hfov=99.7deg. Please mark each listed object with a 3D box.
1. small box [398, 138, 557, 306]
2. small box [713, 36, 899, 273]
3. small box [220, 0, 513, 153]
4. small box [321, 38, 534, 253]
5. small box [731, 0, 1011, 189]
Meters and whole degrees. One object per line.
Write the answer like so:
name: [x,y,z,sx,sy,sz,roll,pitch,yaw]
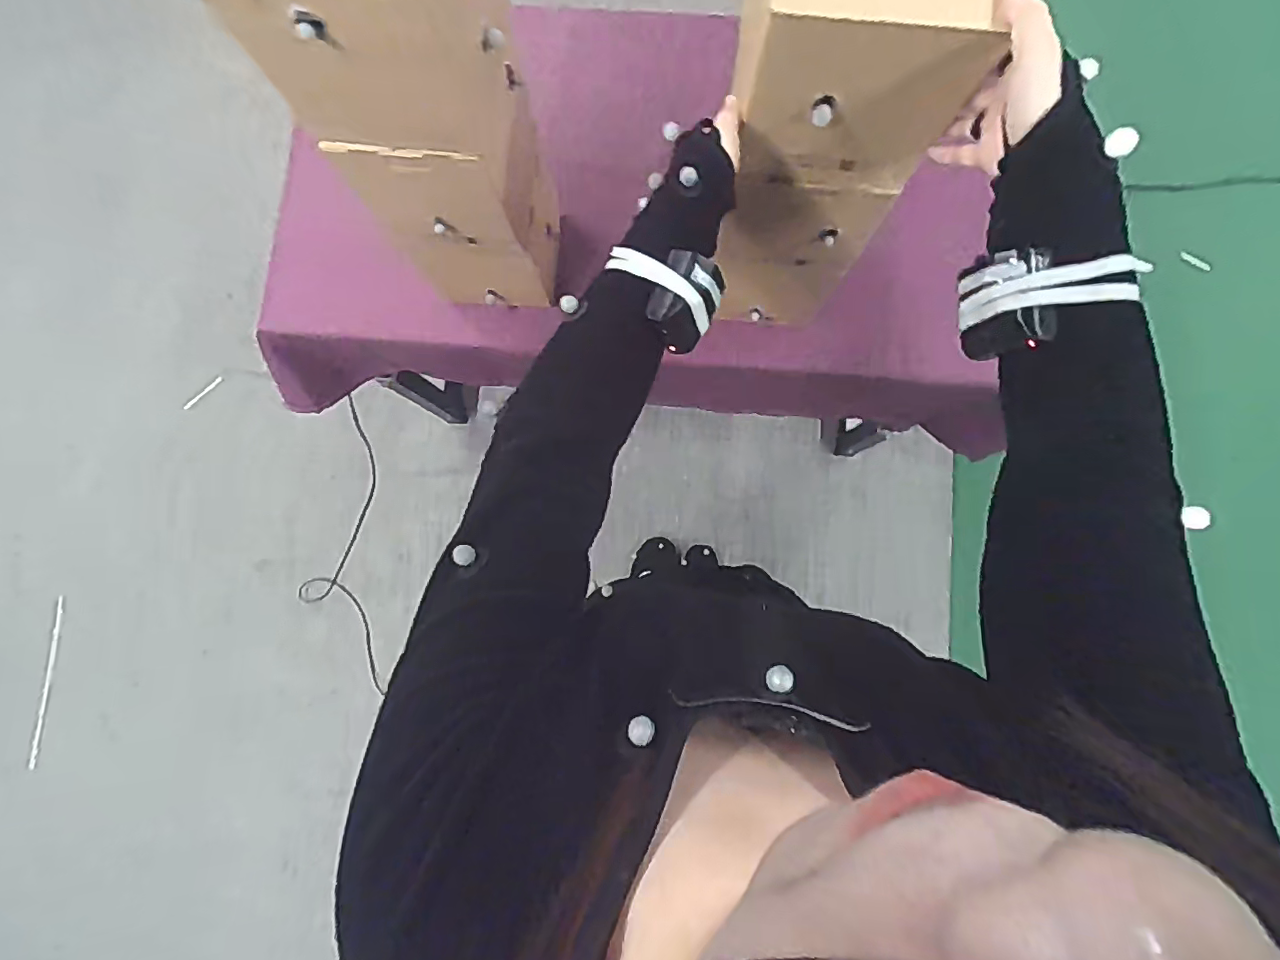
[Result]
small box: [-0.221,-0.366,0.785,0.179,0.176,0.168,3,83,1]
small box: [0.177,-0.354,0.607,0.168,0.176,0.179,5,83,1]
small box: [-0.224,-0.413,0.459,0.179,0.176,0.168,7,83,2]
small box: [-0.225,-0.392,0.622,0.168,0.176,0.179,5,83,3]
small box: [0.172,-0.373,0.445,0.168,0.176,0.179,6,84,1]
